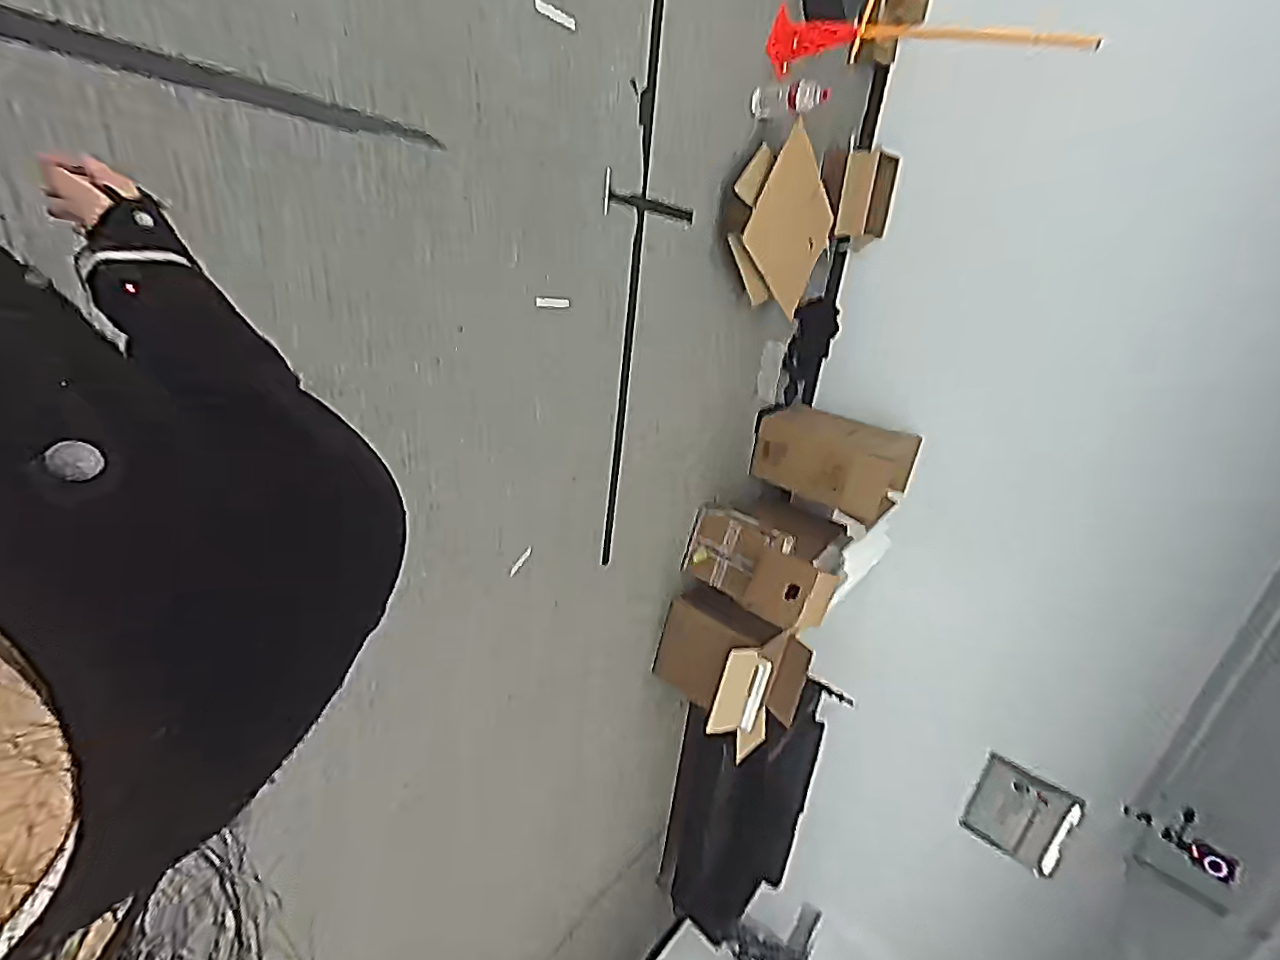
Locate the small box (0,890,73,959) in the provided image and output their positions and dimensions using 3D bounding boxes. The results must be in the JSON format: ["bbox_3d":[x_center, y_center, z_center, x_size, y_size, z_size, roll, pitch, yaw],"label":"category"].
[{"bbox_3d":[-1.148,0.897,0.961,0.179,0.176,0.168,-19,121,-46],"label":"small box"}]
